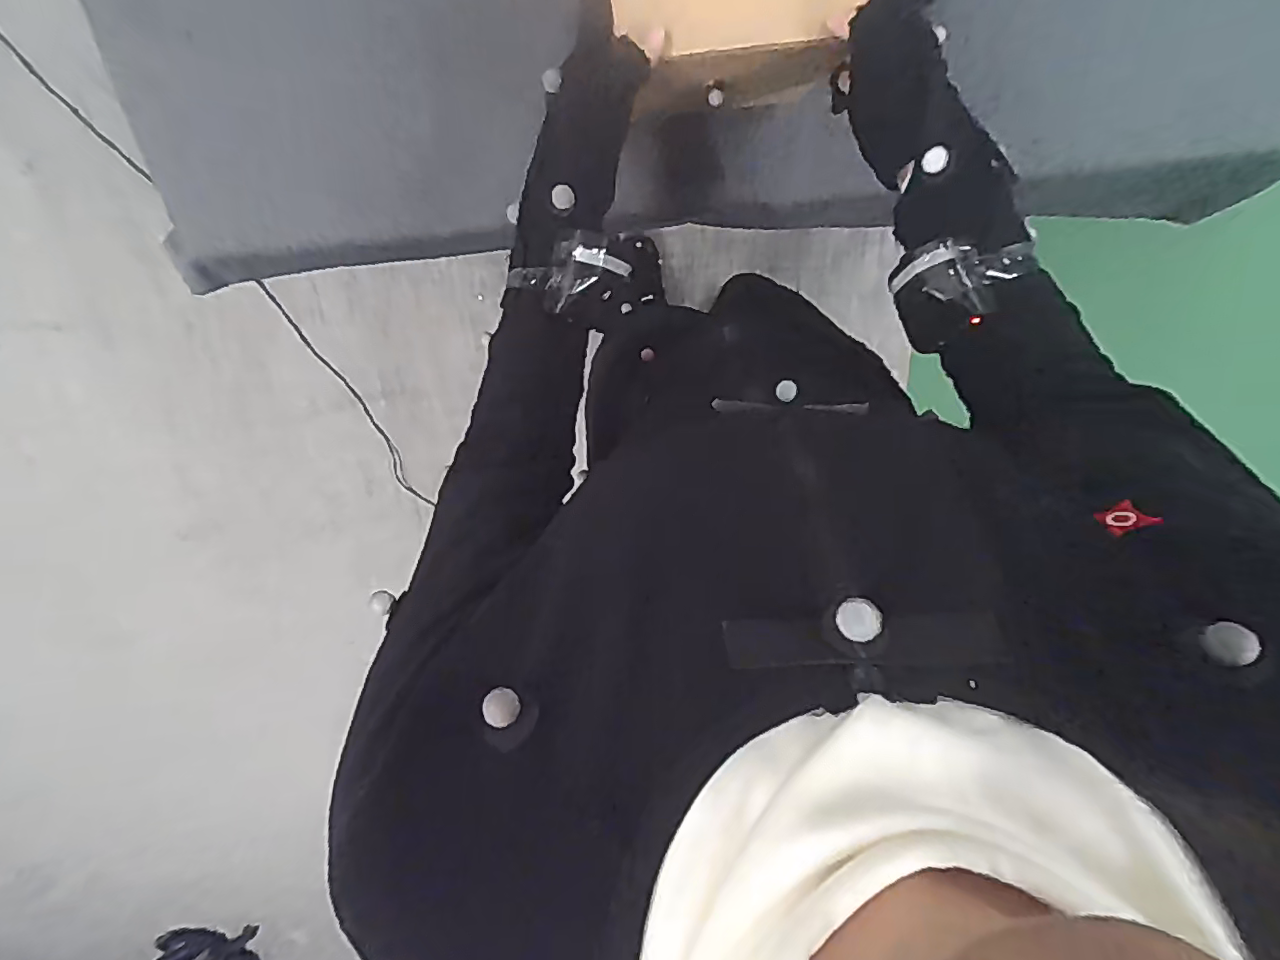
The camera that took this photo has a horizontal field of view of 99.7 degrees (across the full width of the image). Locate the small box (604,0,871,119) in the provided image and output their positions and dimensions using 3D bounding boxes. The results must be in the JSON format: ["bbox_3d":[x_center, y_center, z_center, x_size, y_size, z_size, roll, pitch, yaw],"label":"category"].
[{"bbox_3d":[0.059,-0.395,0.411,0.179,0.176,0.168,-6,112,1],"label":"small box"}]
